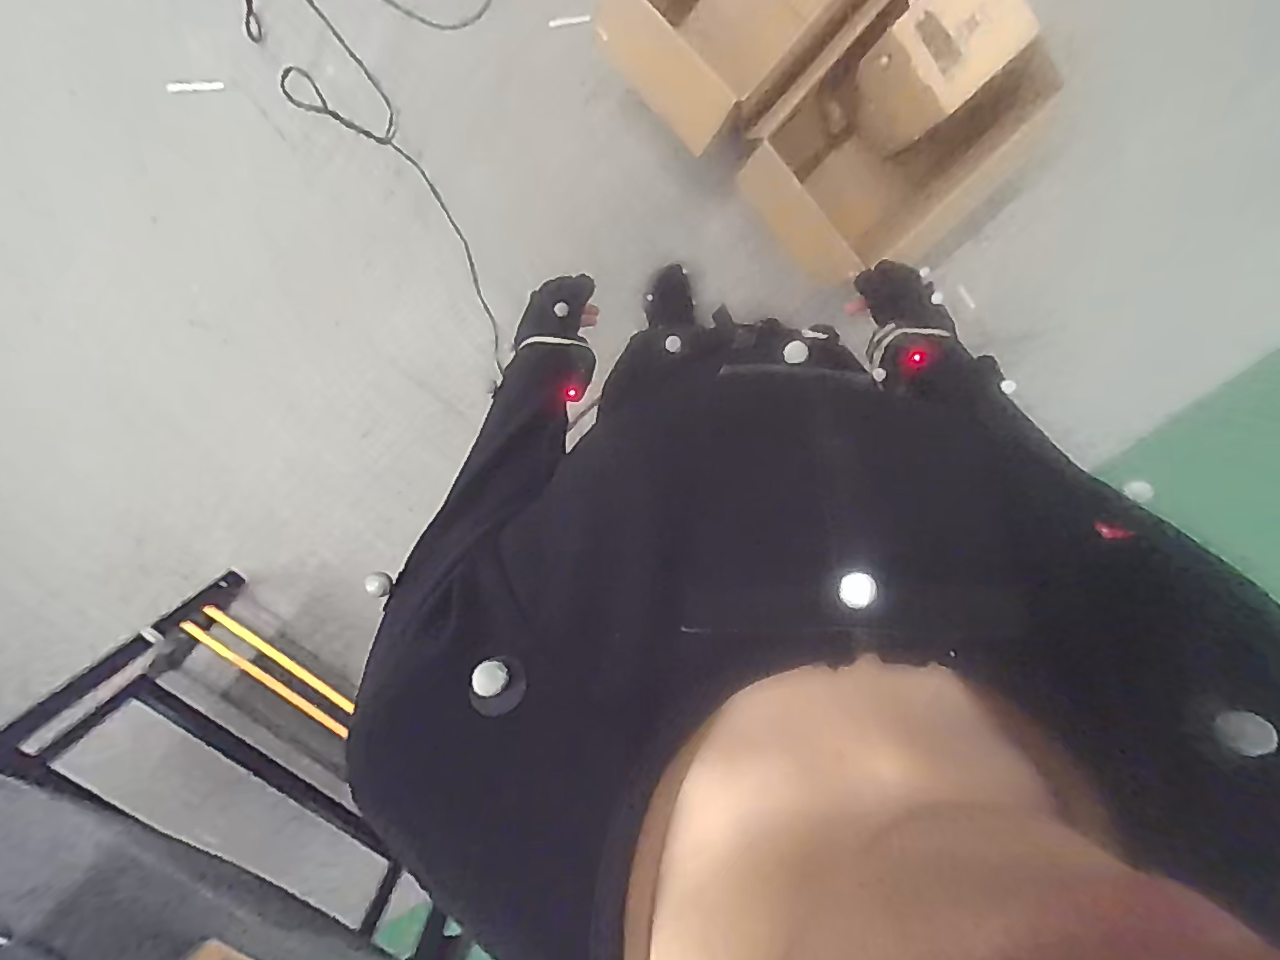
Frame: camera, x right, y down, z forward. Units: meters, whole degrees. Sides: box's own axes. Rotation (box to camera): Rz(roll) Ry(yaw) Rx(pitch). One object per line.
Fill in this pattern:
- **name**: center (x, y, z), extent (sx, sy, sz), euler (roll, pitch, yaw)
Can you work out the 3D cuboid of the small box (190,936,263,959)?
- **small box**: center (-1.008, 1.218, 1.254), extent (0.168, 0.176, 0.179), euler (43, 109, -13)
